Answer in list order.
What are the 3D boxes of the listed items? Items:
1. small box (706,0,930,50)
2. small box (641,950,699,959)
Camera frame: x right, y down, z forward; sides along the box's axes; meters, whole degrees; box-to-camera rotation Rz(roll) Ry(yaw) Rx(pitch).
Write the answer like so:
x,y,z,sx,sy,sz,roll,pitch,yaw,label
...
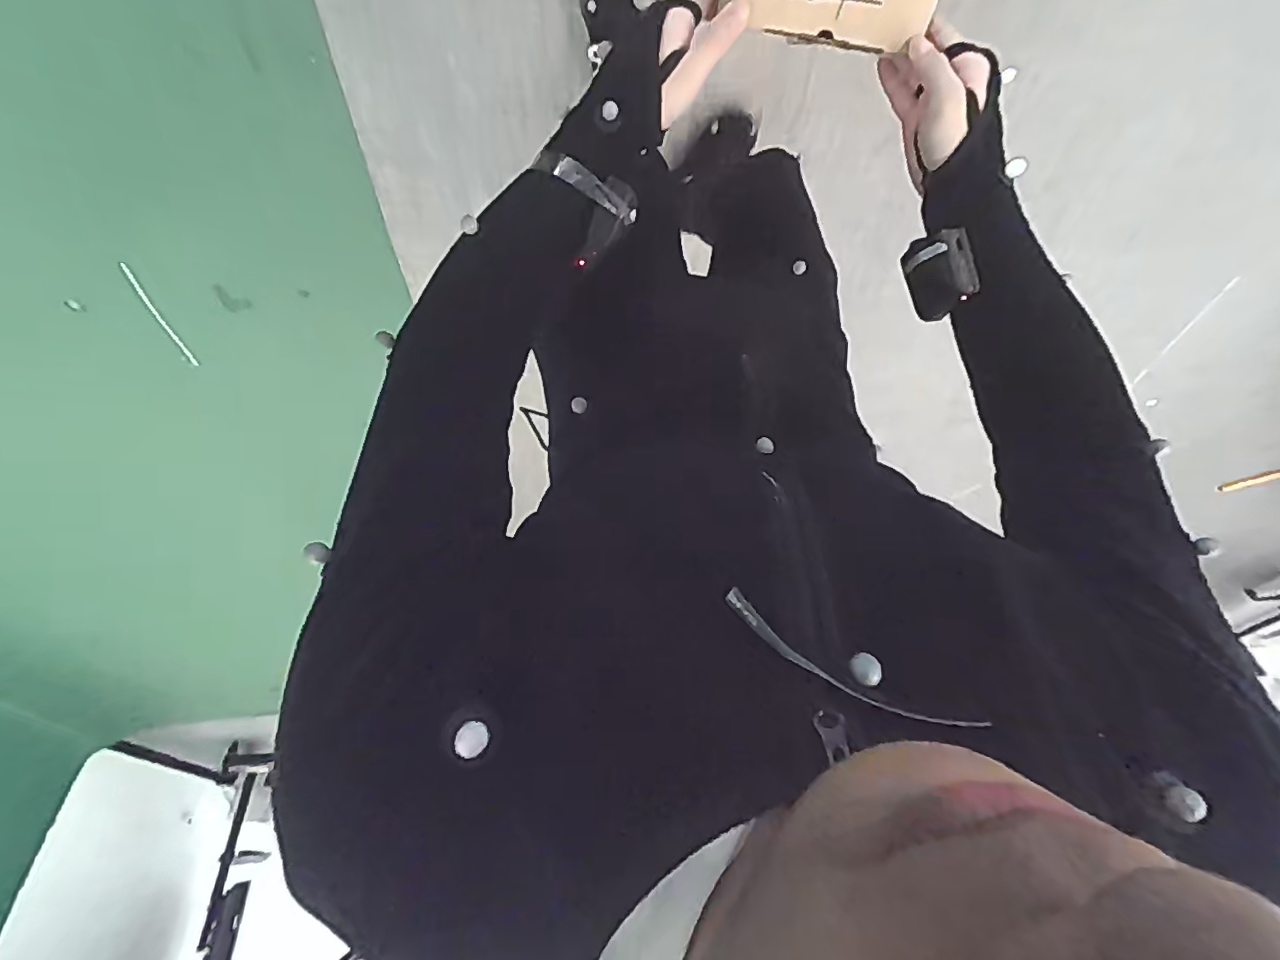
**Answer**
x,y,z,sx,sy,sz,roll,pitch,yaw,label
0.155,-0.484,0.447,0.168,0.176,0.179,3,130,-8,small box
0.096,1.550,1.642,0.179,0.176,0.168,-5,143,-5,small box
